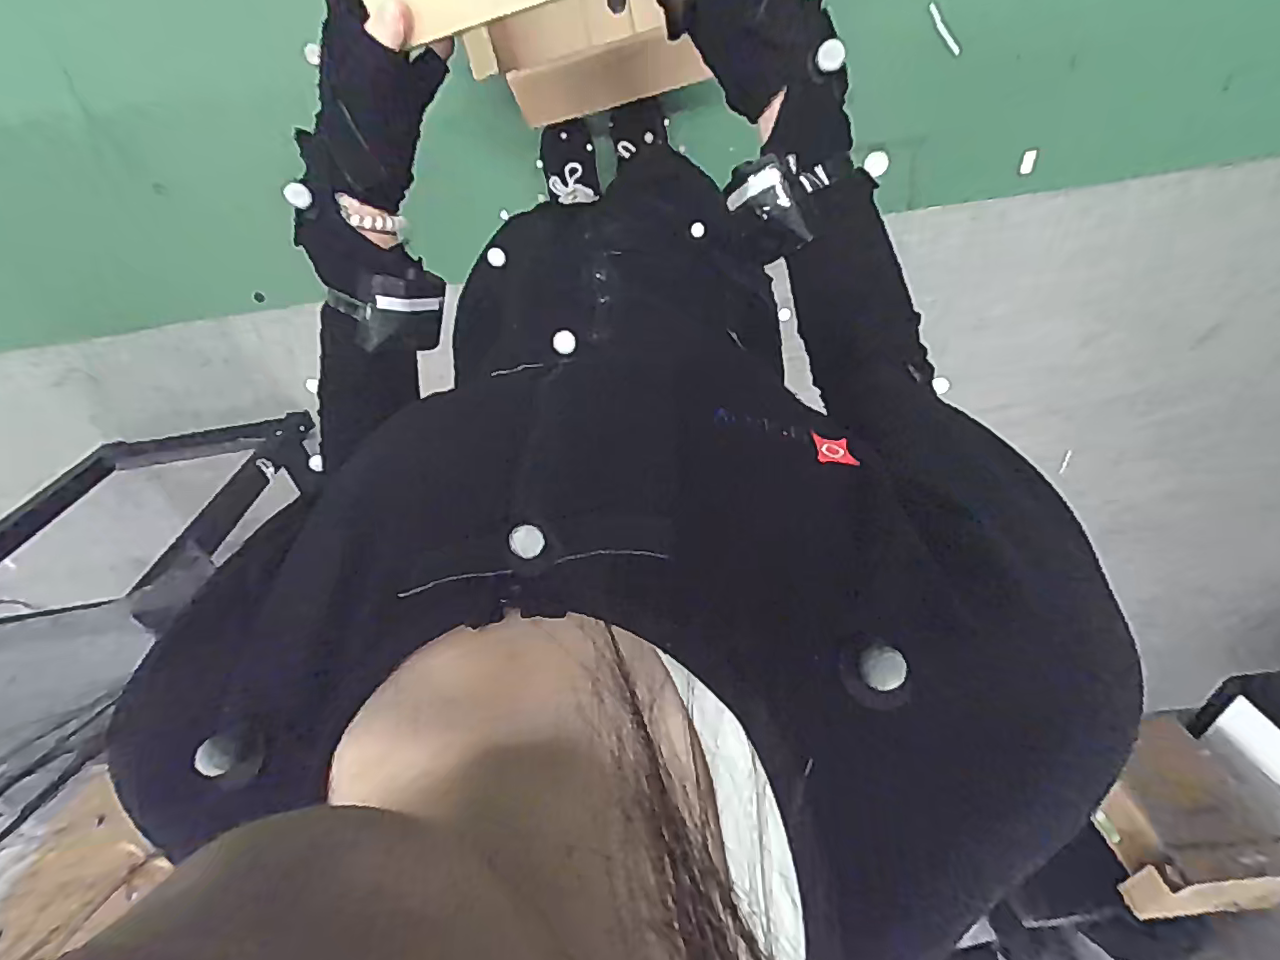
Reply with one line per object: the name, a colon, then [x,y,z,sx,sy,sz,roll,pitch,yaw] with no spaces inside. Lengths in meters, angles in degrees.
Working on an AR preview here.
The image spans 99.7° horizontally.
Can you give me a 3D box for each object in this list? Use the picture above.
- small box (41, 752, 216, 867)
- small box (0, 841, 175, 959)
small box: [-1.035,0.689,1.122,0.179,0.176,0.168,-9,126,2]
small box: [-1.034,0.798,0.998,0.179,0.176,0.168,-11,127,2]
